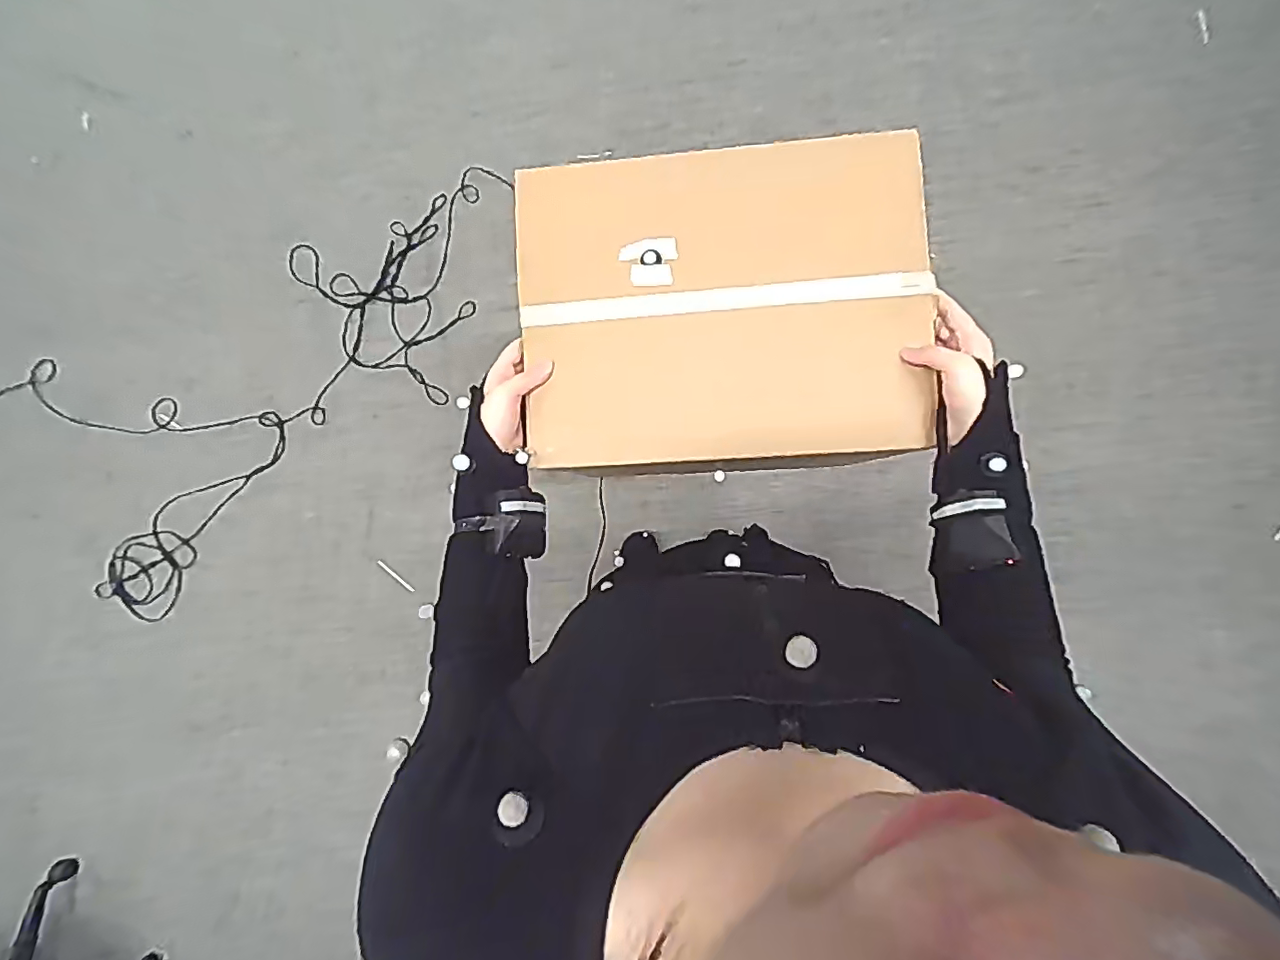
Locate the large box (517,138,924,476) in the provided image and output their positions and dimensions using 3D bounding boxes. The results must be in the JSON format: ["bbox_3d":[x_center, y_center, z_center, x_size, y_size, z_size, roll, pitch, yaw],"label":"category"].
[{"bbox_3d":[0.092,-0.173,0.701,0.408,0.320,0.320,-3,88,7],"label":"large box"}]
